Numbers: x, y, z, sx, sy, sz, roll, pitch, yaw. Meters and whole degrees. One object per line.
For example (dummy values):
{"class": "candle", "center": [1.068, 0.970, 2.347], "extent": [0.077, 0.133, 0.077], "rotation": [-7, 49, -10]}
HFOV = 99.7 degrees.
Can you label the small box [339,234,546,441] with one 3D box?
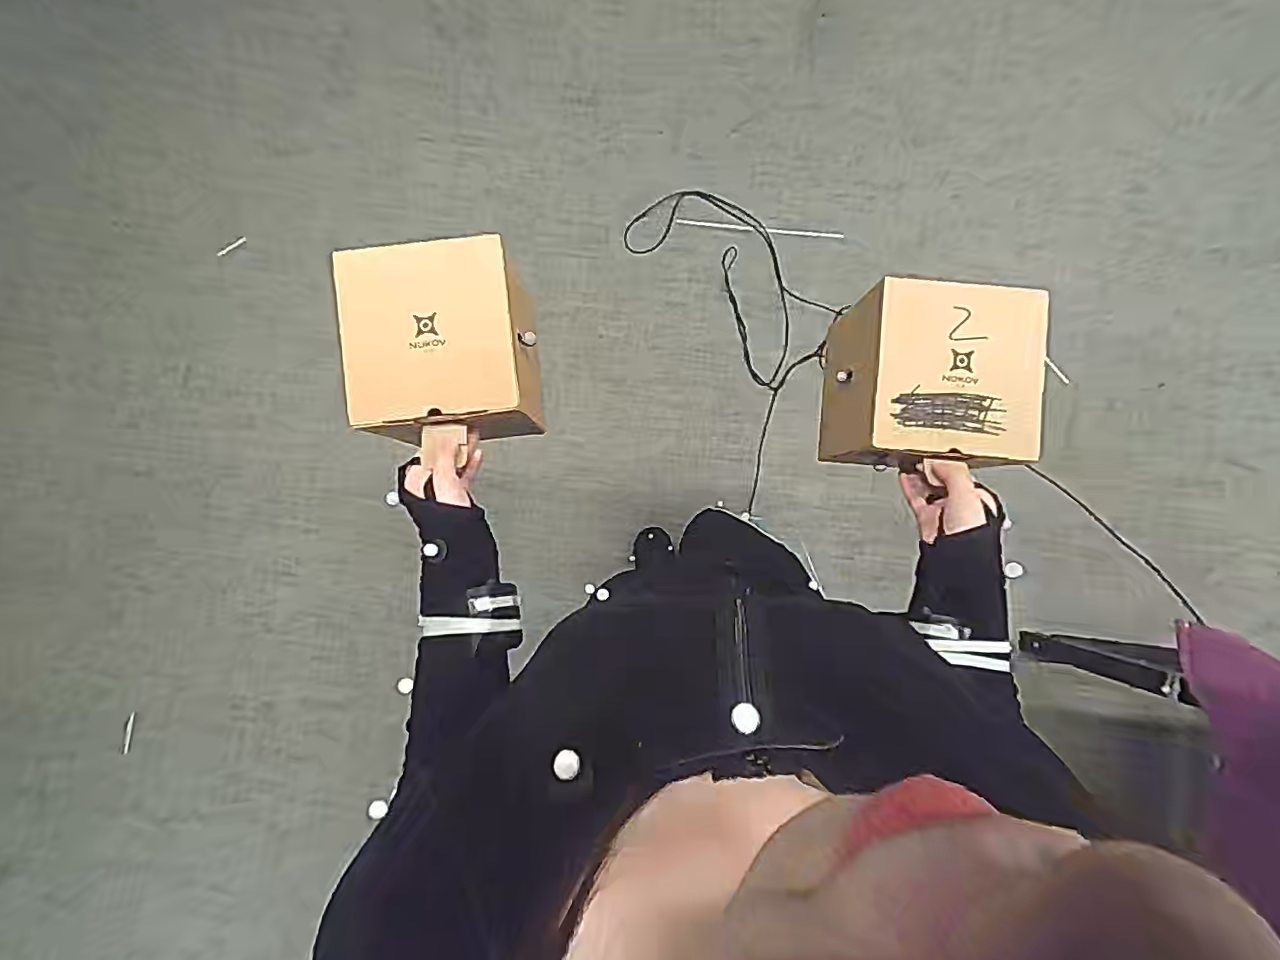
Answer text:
{"class": "small box", "center": [-0.204, -0.144, 0.601], "extent": [0.168, 0.176, 0.179], "rotation": [-6, 89, -1]}
